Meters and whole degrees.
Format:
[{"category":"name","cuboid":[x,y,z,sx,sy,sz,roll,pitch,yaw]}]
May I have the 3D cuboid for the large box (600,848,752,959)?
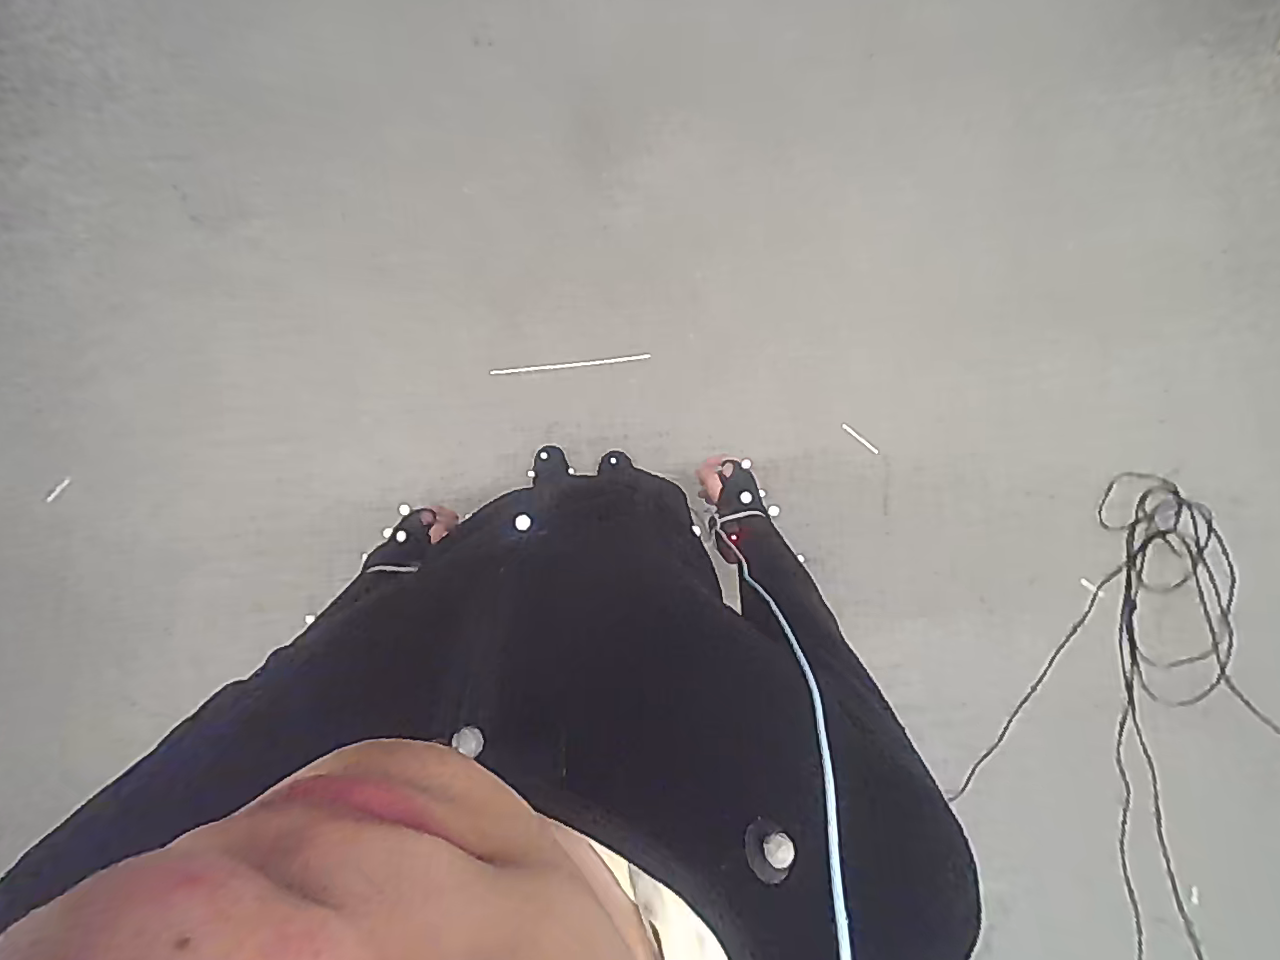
[{"category":"large box","cuboid":[0.109,1.348,1.575,0.408,0.320,0.320,-8,93,0]}]
